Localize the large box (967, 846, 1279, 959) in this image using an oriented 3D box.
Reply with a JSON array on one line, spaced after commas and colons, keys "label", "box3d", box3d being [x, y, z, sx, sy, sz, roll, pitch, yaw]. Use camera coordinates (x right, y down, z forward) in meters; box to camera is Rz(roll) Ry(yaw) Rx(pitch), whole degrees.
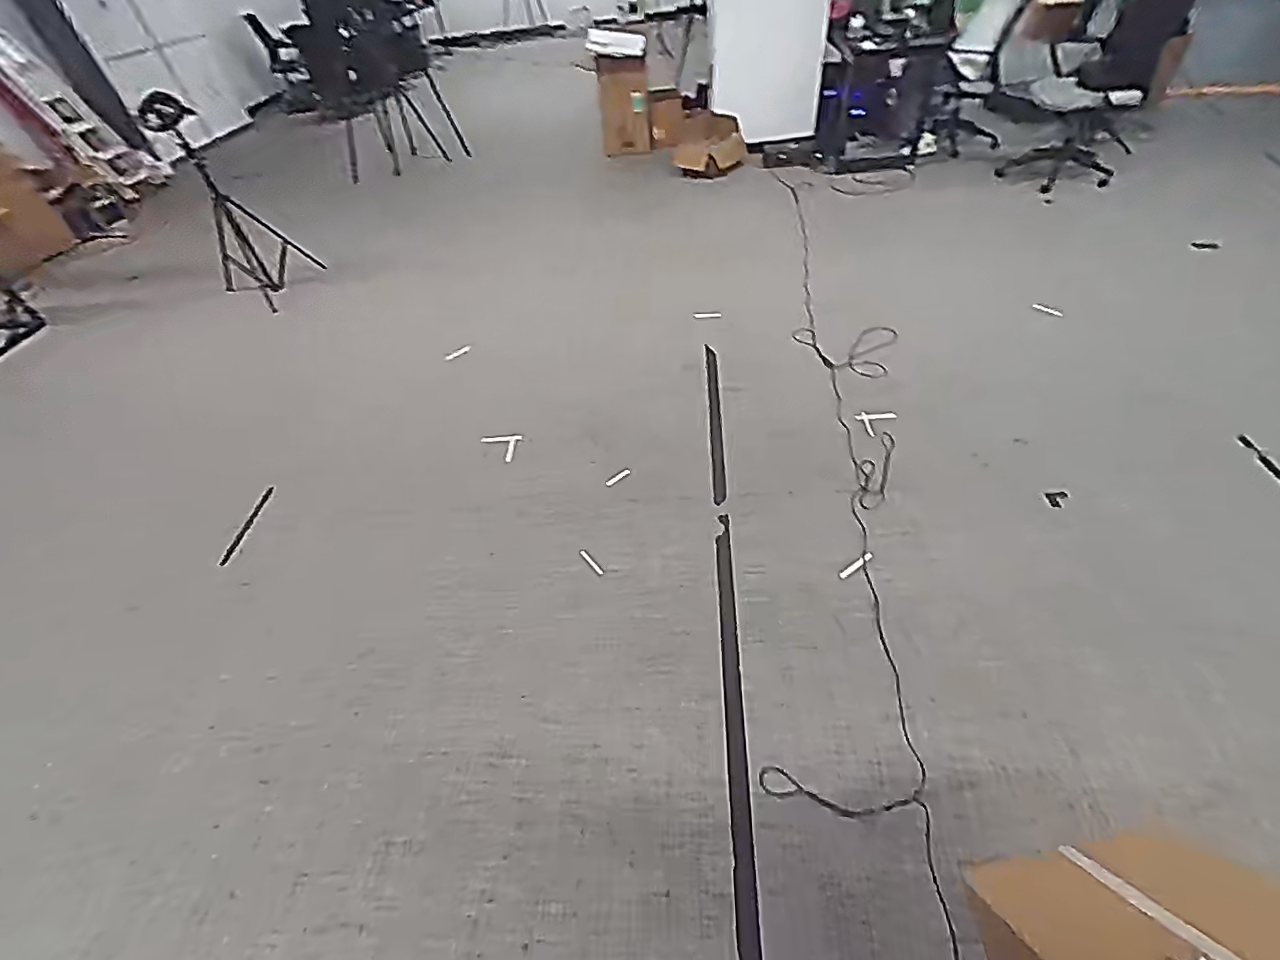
[{"label": "large box", "box3d": [0.646, 0.673, 0.570, 0.320, 0.408, 0.320, -13, 79, 1]}]
